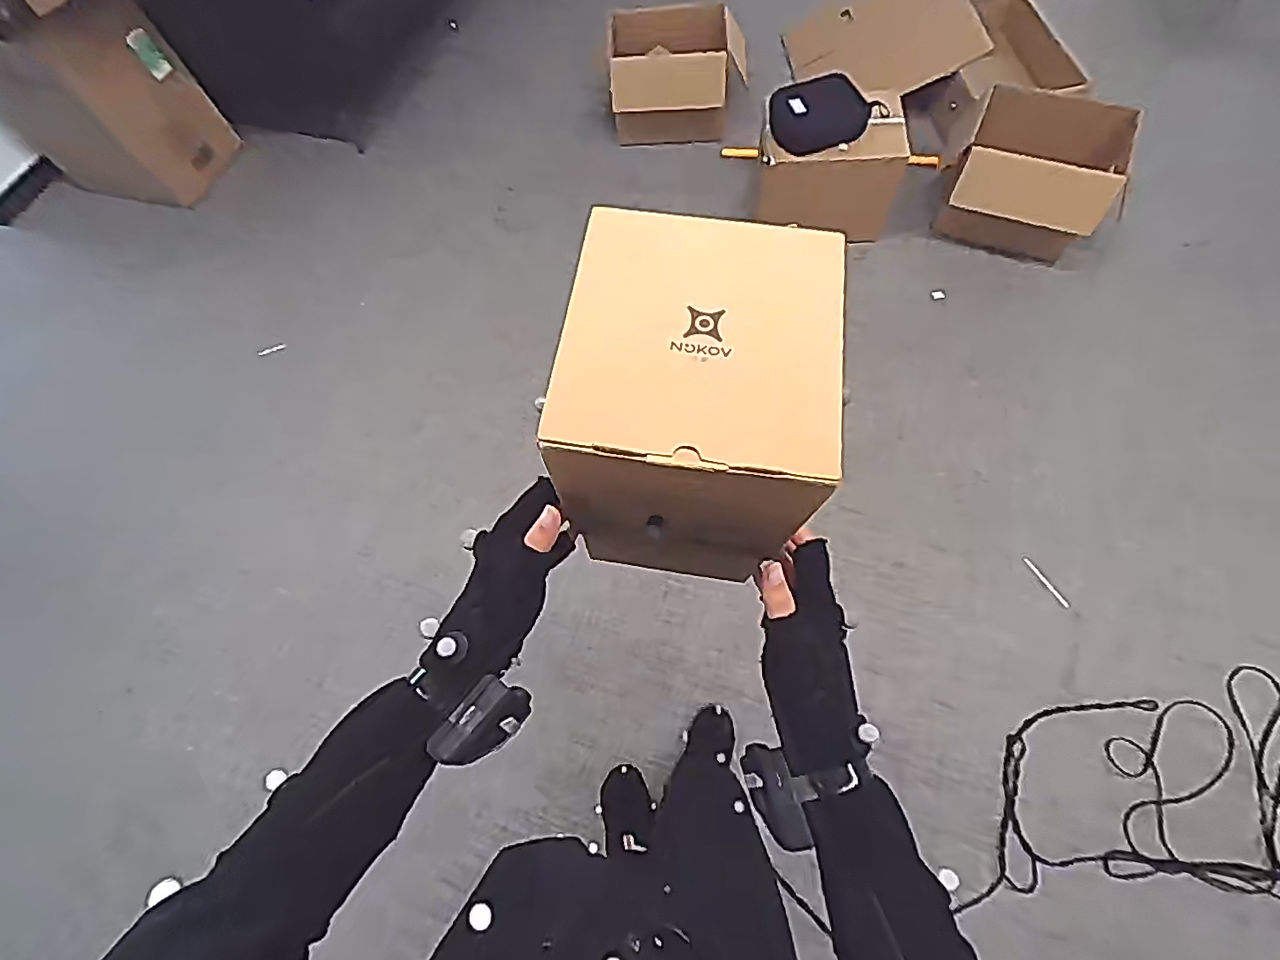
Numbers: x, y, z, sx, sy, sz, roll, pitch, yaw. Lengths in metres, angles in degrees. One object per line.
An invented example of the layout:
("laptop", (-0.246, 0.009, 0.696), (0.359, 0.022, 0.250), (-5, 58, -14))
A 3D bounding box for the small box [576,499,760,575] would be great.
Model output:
("small box", (0.043, -0.009, 0.554), (0.179, 0.176, 0.168), (9, 68, 3))

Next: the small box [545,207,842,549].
("small box", (0.038, -0.062, 0.401), (0.168, 0.176, 0.179), (8, 69, 3))
